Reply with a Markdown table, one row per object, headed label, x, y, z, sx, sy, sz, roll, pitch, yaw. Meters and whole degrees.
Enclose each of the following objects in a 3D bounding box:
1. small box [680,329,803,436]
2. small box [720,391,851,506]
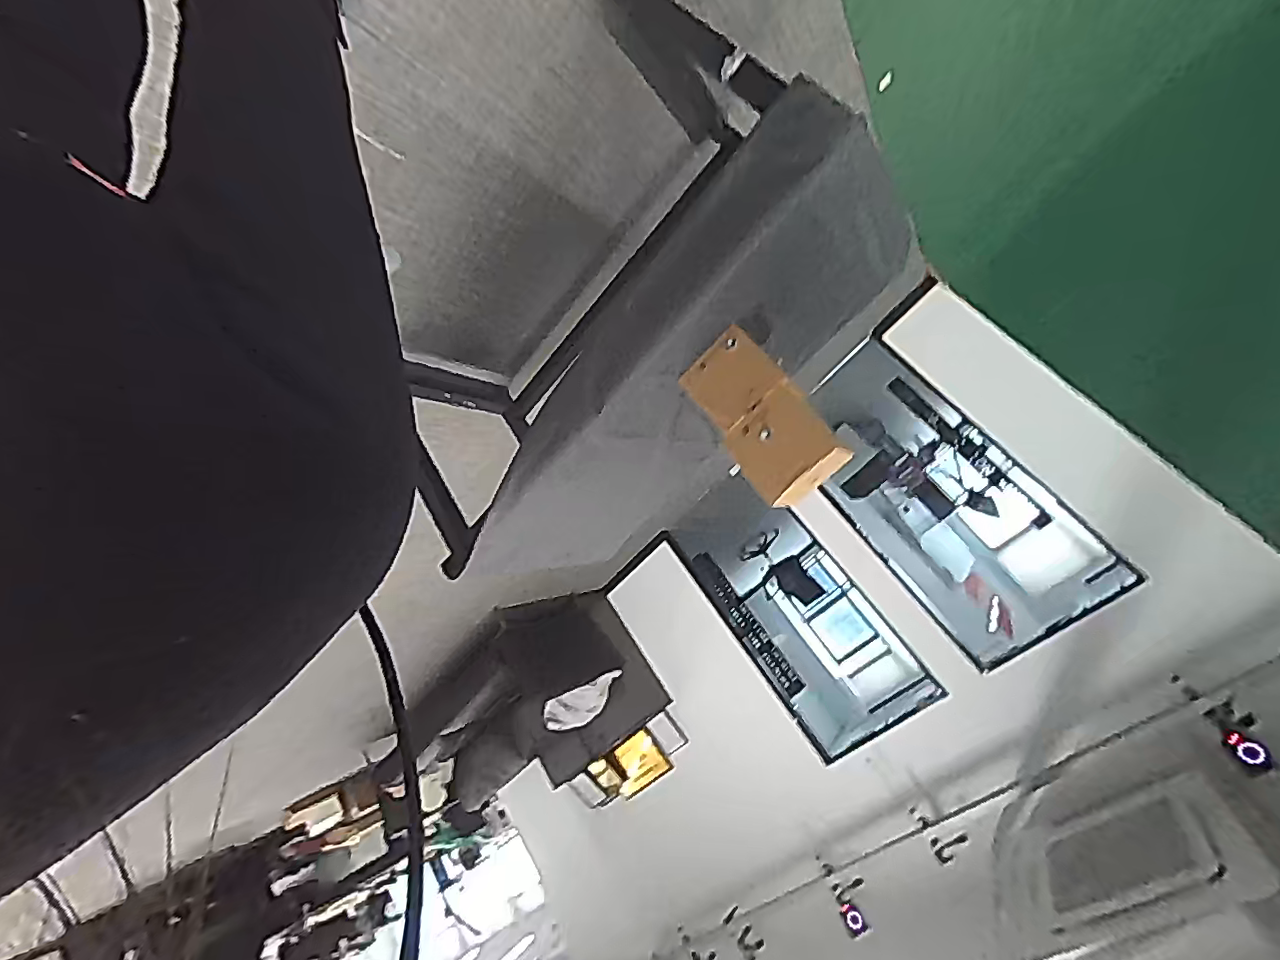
| label | x | y | z | sx | sy | sz | roll | pitch | yaw |
| --- | --- | --- | --- | --- | --- | --- | --- | --- | --- |
| small box | 0.215 | -0.197 | 1.162 | 0.168 | 0.176 | 0.179 | -44 | 157 | 19 |
| small box | 0.299 | -0.063 | 1.113 | 0.168 | 0.176 | 0.179 | -46 | 156 | 22 |
